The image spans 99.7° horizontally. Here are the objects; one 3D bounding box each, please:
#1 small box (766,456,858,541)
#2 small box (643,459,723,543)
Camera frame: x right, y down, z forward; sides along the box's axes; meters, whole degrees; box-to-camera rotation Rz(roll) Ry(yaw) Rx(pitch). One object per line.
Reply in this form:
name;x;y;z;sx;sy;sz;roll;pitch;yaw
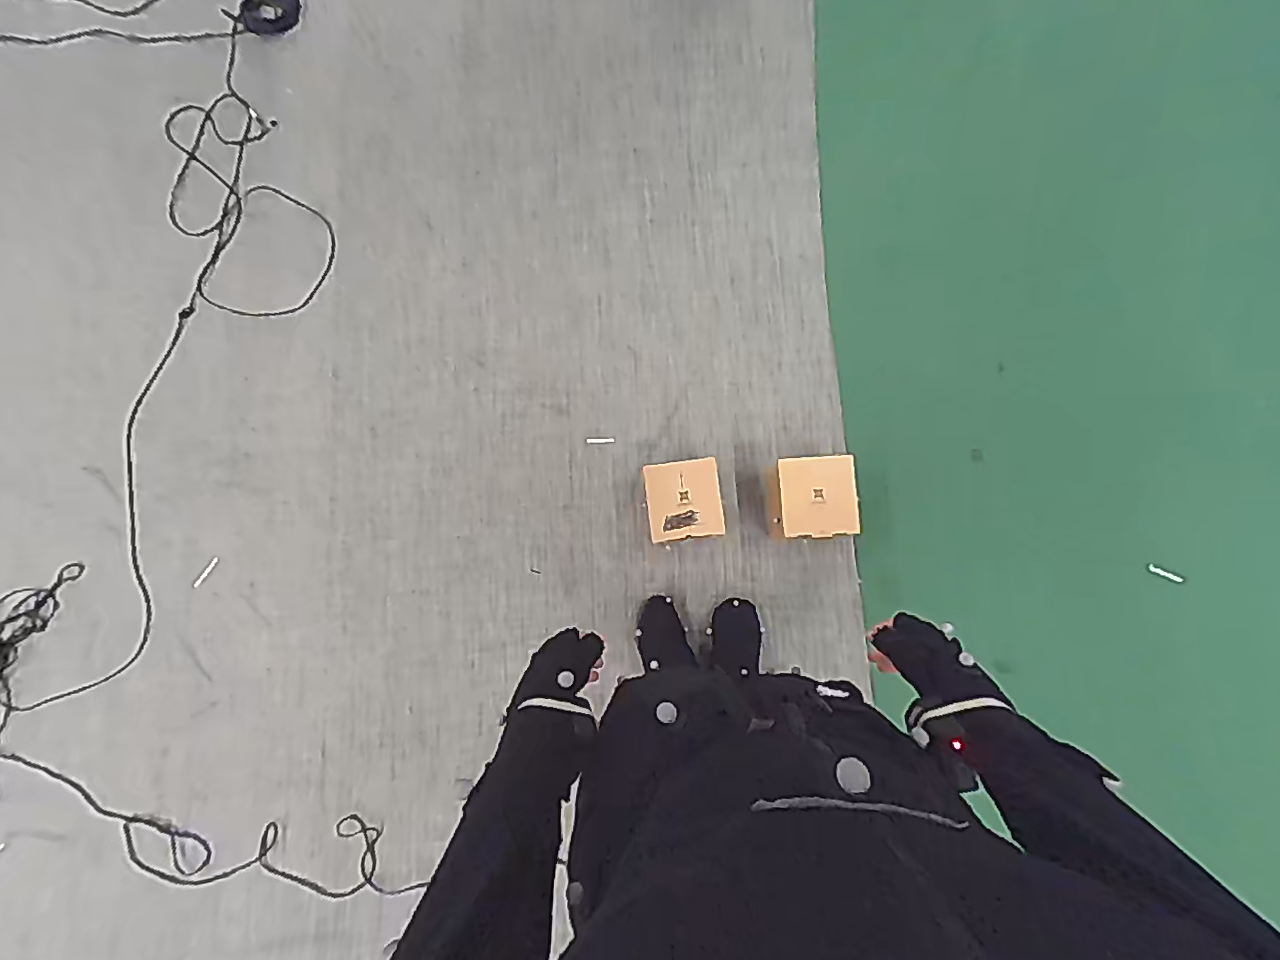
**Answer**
small box;0.393;0.048;1.263;0.168;0.176;0.179;-3;82;4
small box;0.101;0.057;1.280;0.168;0.176;0.179;-7;81;2
